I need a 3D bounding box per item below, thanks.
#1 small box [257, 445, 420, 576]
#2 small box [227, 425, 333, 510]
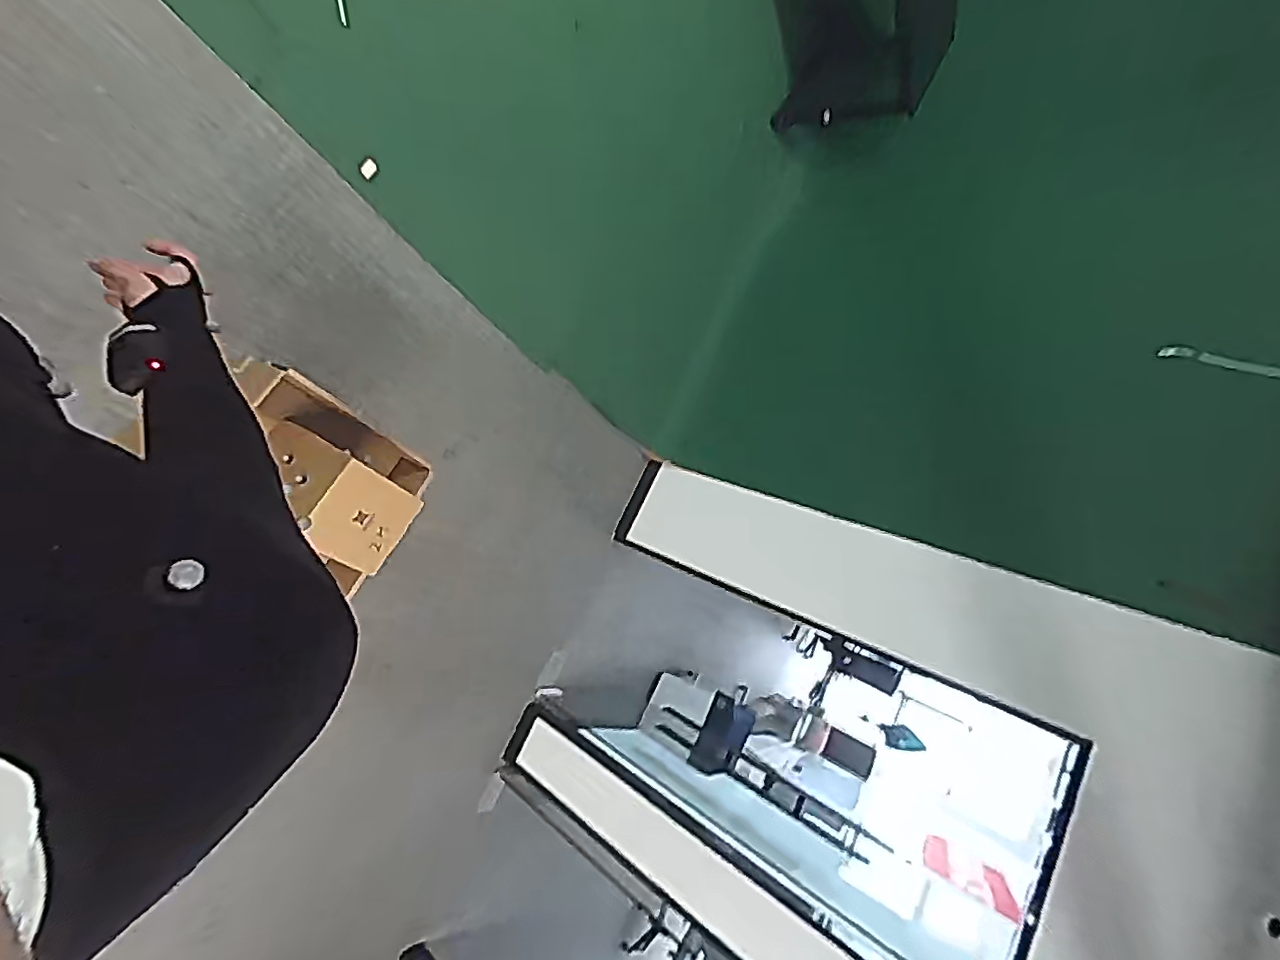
[{"bbox_3d":[-0.562,0.051,1.009,0.168,0.176,0.179,-59,144,-15],"label":"small box"},{"bbox_3d":[-0.686,0.007,1.109,0.168,0.176,0.179,-60,145,-17],"label":"small box"}]
